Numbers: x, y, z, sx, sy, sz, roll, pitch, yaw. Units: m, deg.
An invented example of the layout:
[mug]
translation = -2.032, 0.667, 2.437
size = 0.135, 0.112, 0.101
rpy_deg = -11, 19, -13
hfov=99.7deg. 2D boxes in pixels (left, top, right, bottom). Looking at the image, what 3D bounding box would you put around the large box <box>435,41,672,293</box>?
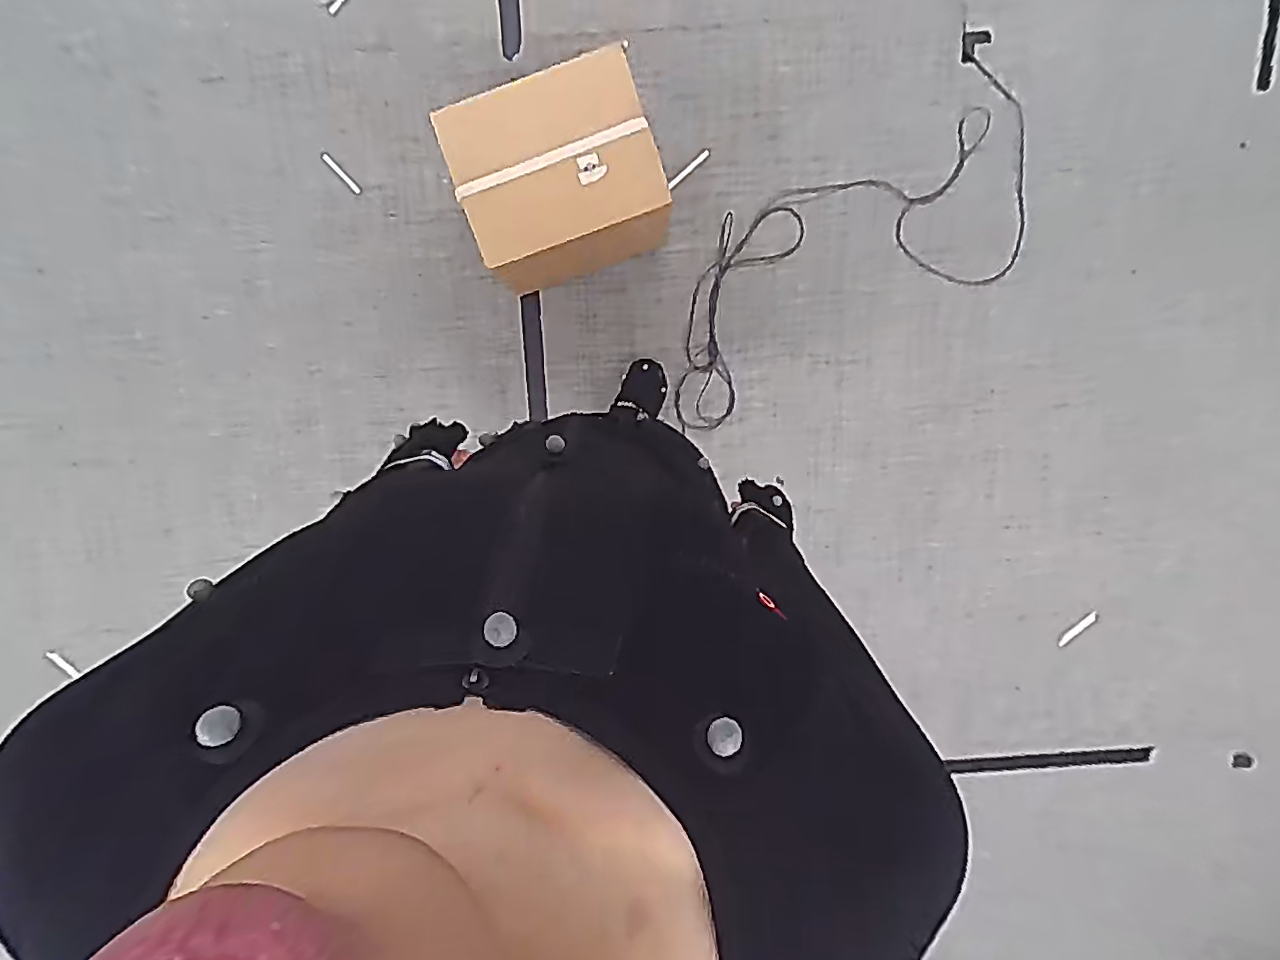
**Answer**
[large box]
translation = -0.174, -0.668, 1.226
size = 0.408, 0.320, 0.320
rpy_deg = -19, 99, 1
